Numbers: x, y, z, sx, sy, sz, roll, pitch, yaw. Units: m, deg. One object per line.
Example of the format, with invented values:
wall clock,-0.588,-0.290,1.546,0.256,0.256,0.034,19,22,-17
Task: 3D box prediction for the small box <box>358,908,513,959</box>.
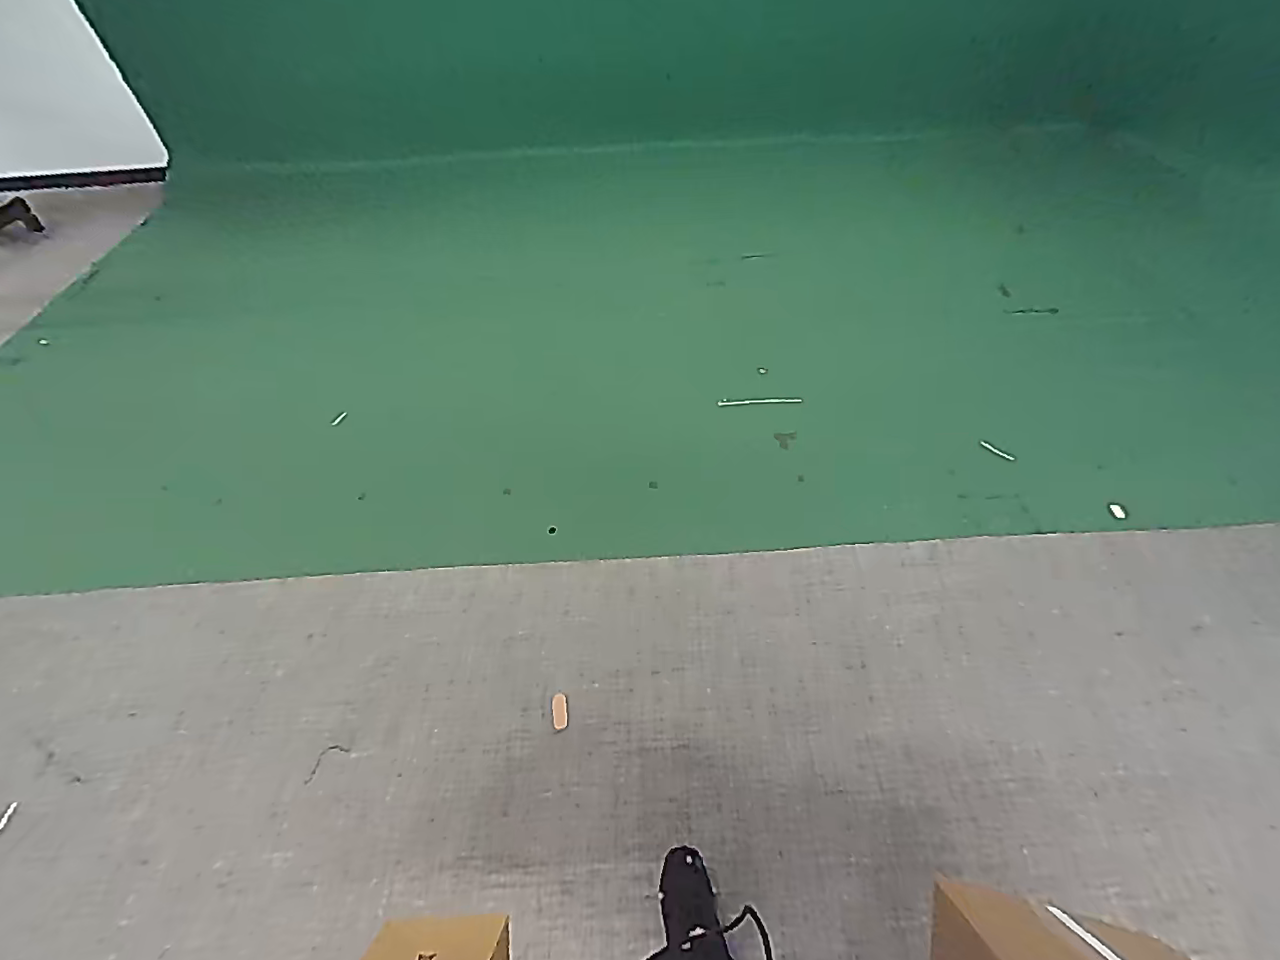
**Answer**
small box,-0.252,0.652,0.637,0.168,0.179,0.176,-4,82,0
